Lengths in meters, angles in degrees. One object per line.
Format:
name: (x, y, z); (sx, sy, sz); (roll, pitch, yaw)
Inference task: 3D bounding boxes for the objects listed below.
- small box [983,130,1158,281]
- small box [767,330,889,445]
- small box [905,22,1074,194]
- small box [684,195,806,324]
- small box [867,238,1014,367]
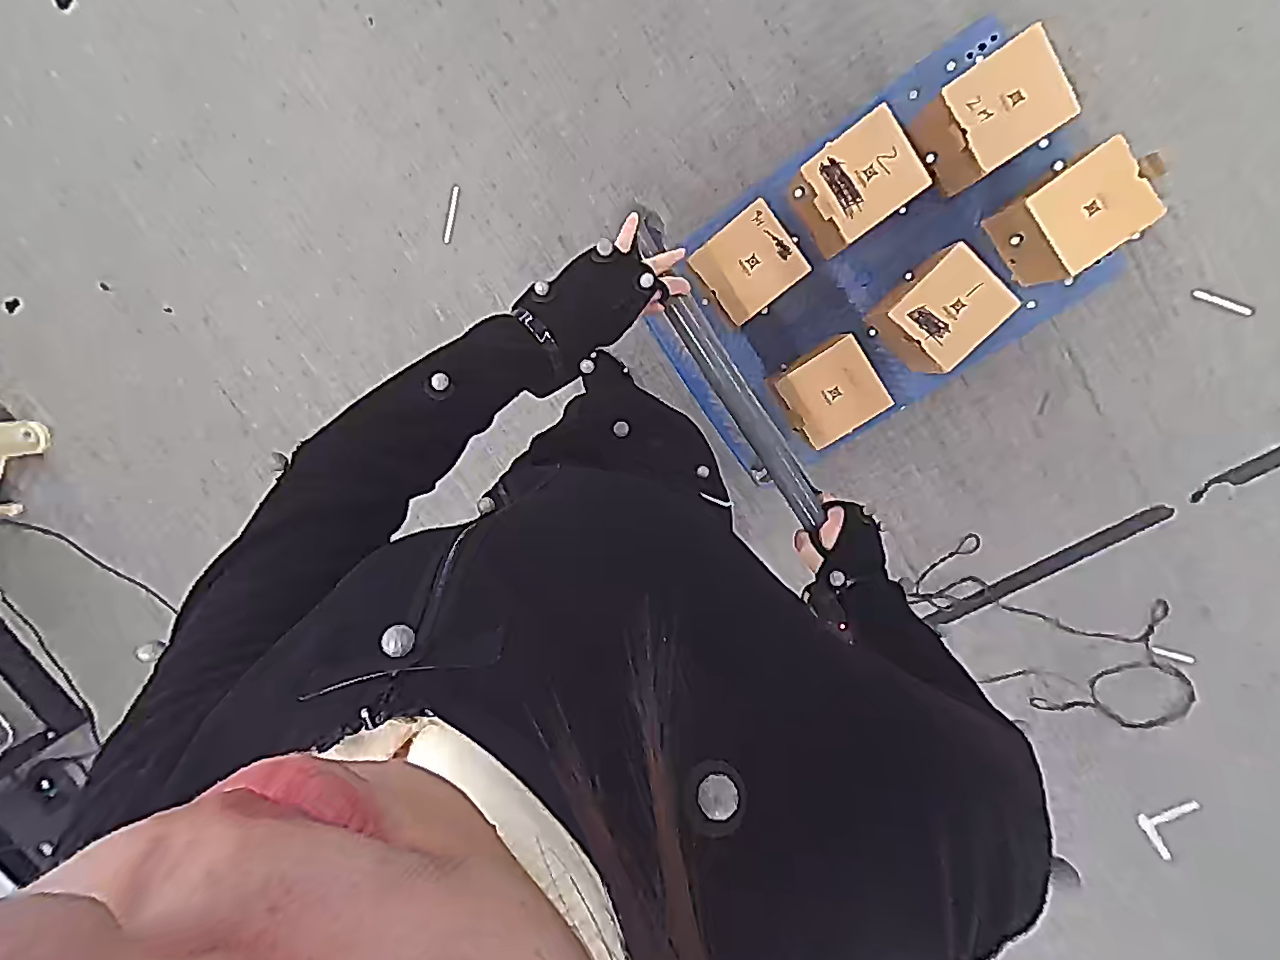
small box: (0.798, -0.506, 1.031); (0.179, 0.176, 0.168); (-37, 97, 12)
small box: (0.383, -0.196, 1.143); (0.179, 0.176, 0.168); (-33, 98, 11)
small box: (0.635, -0.674, 1.006); (0.179, 0.176, 0.168); (-32, 97, 12)
small box: (0.209, -0.435, 1.103); (0.179, 0.176, 0.168); (-37, 98, 12)
small box: (0.585, -0.346, 1.087); (0.168, 0.176, 0.179); (43, 102, -5)
